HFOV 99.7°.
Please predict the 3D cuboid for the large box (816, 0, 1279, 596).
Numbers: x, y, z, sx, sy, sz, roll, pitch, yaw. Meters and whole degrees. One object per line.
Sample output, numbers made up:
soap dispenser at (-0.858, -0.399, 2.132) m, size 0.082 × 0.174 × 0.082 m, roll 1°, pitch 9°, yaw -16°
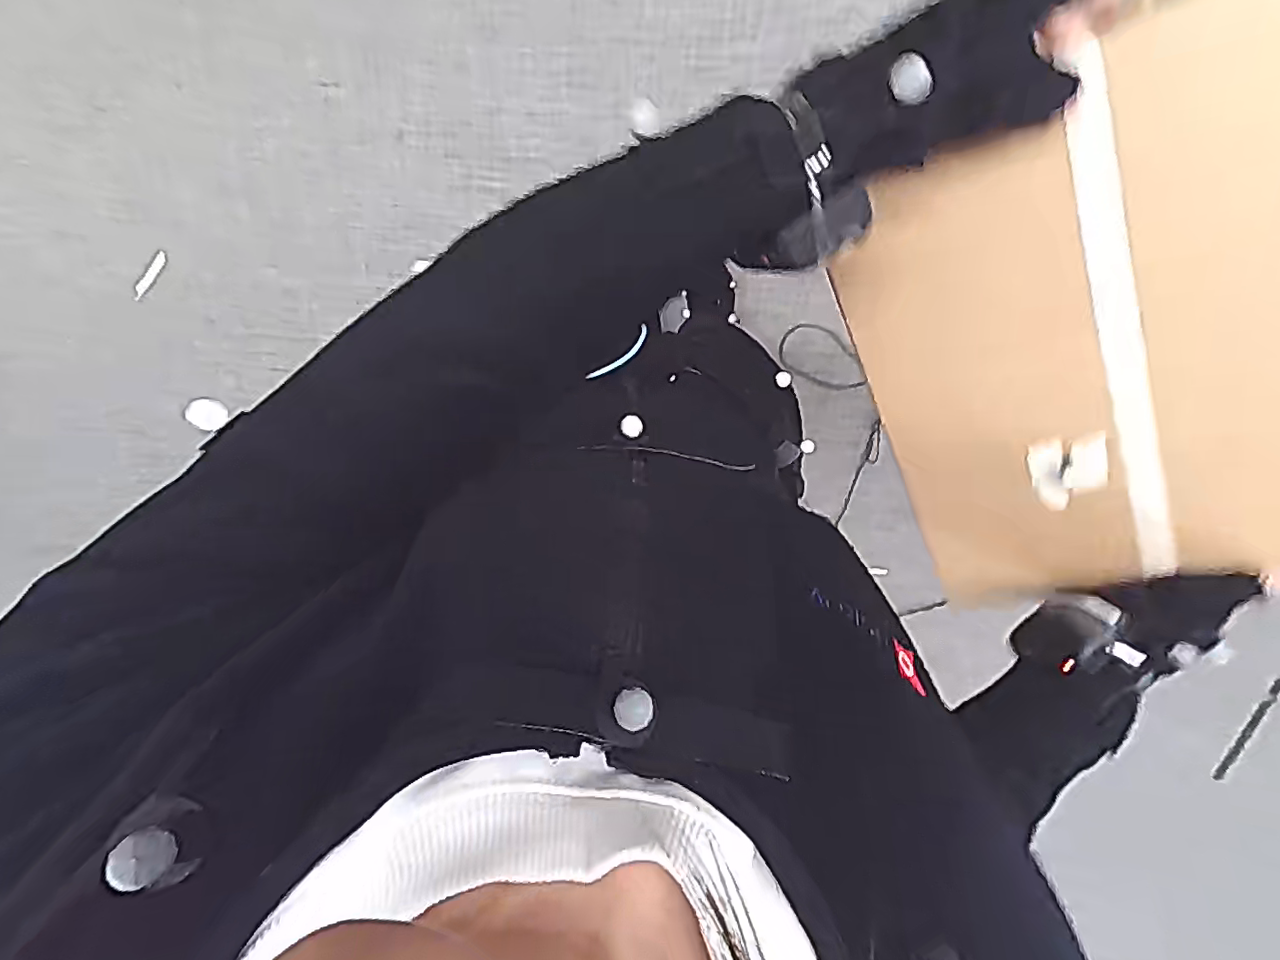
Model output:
large box at (0.383, -0.163, 0.511) m, size 0.320 × 0.320 × 0.408 m, roll -17°, pitch 116°, yaw 28°
